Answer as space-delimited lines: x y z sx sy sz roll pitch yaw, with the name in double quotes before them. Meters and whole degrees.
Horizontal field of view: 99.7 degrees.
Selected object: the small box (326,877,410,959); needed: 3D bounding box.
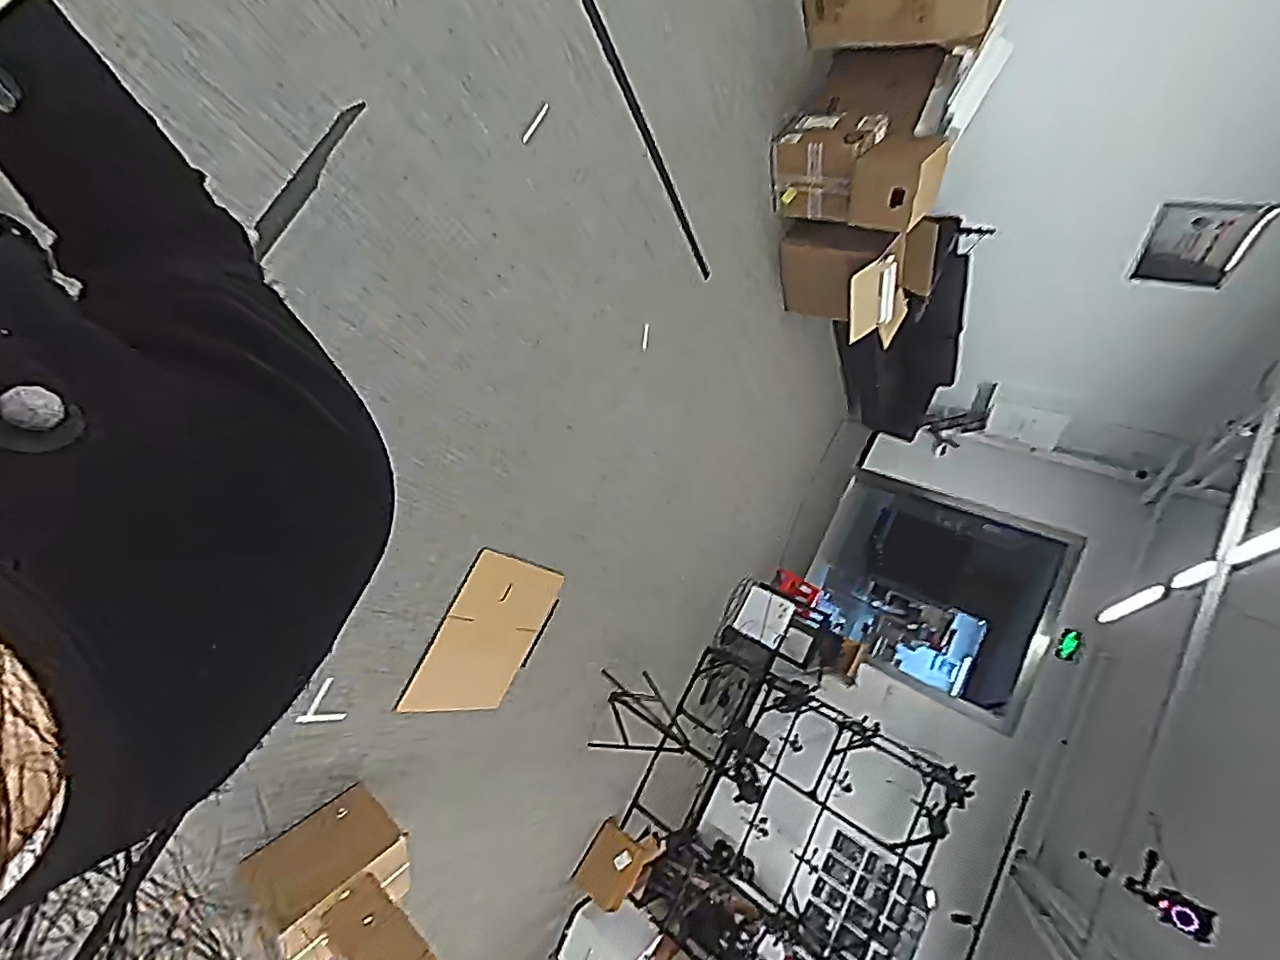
"small box" -0.872 1.440 1.736 0.179 0.176 0.168 -24 127 -46
